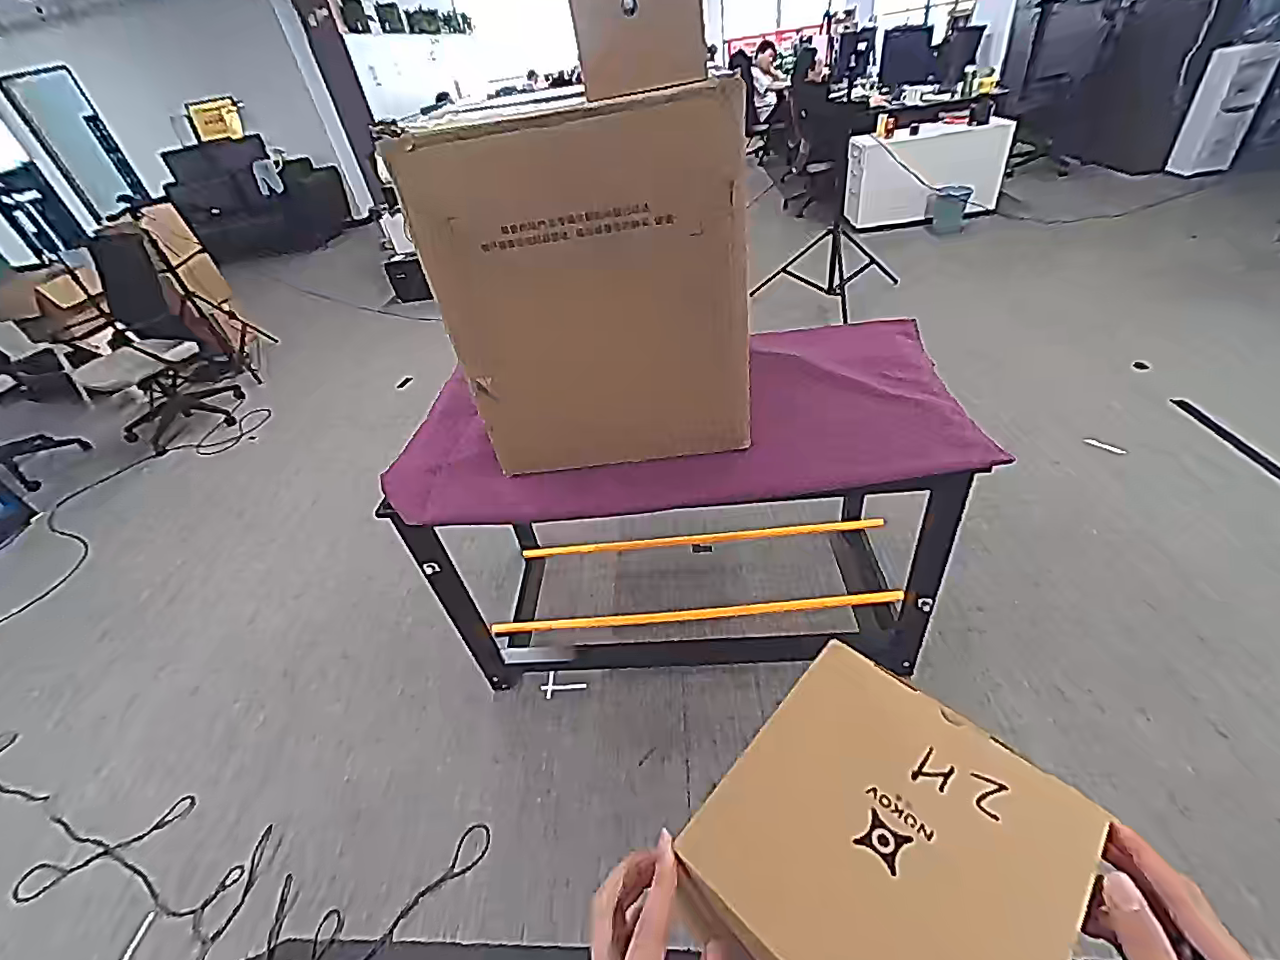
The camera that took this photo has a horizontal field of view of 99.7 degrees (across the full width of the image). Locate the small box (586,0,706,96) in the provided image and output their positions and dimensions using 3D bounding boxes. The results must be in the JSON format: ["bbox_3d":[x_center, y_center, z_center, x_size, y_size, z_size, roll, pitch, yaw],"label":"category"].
[{"bbox_3d":[0.010,-0.754,0.896,0.179,0.176,0.168,-6,38,6],"label":"small box"}]
